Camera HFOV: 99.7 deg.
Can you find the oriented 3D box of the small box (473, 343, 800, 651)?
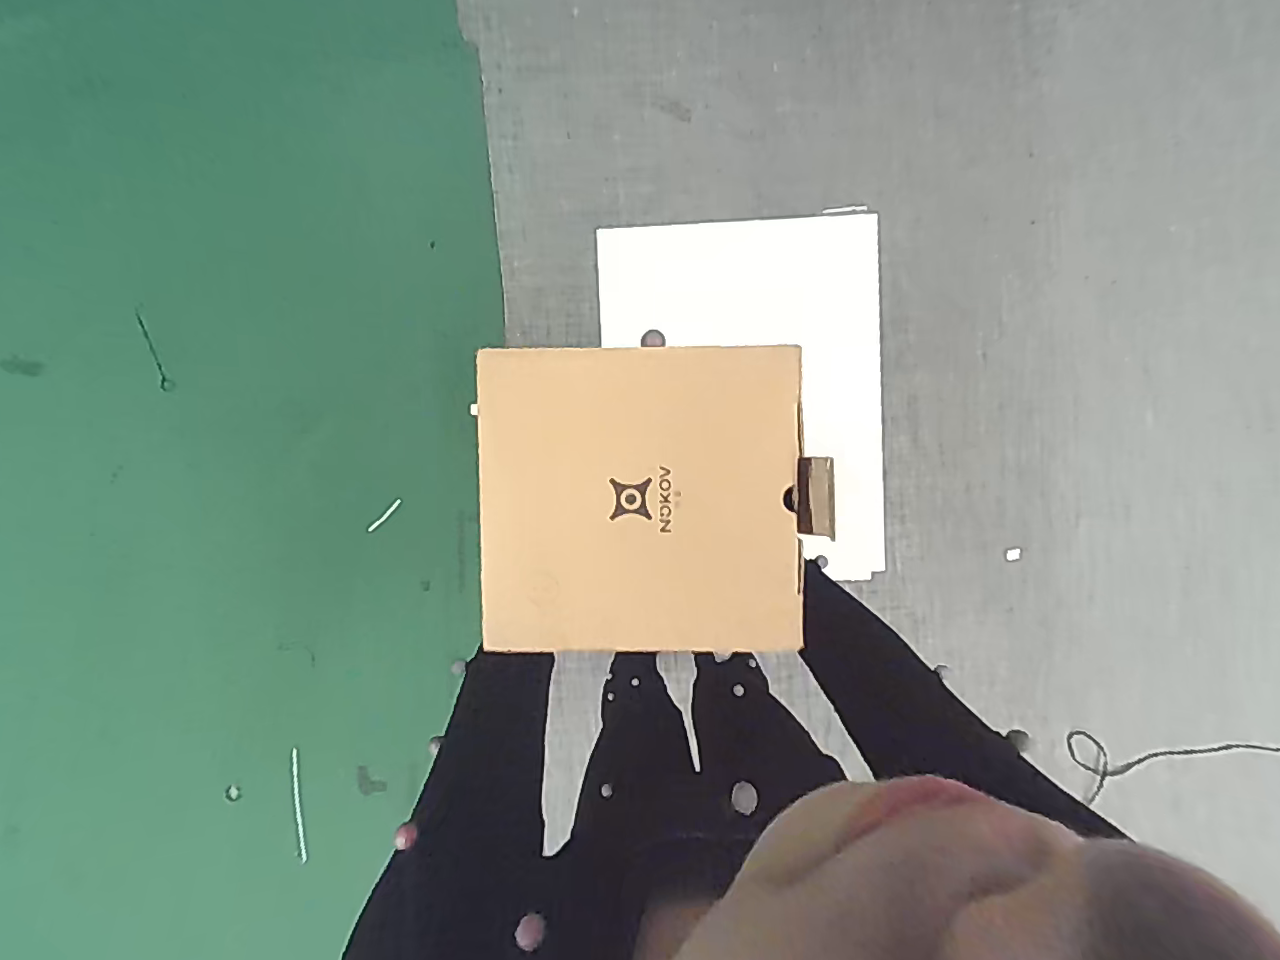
[{"bbox_3d":[0.000,0.008,0.368,0.179,0.176,0.168,-1,92,0],"label":"small box"}]
